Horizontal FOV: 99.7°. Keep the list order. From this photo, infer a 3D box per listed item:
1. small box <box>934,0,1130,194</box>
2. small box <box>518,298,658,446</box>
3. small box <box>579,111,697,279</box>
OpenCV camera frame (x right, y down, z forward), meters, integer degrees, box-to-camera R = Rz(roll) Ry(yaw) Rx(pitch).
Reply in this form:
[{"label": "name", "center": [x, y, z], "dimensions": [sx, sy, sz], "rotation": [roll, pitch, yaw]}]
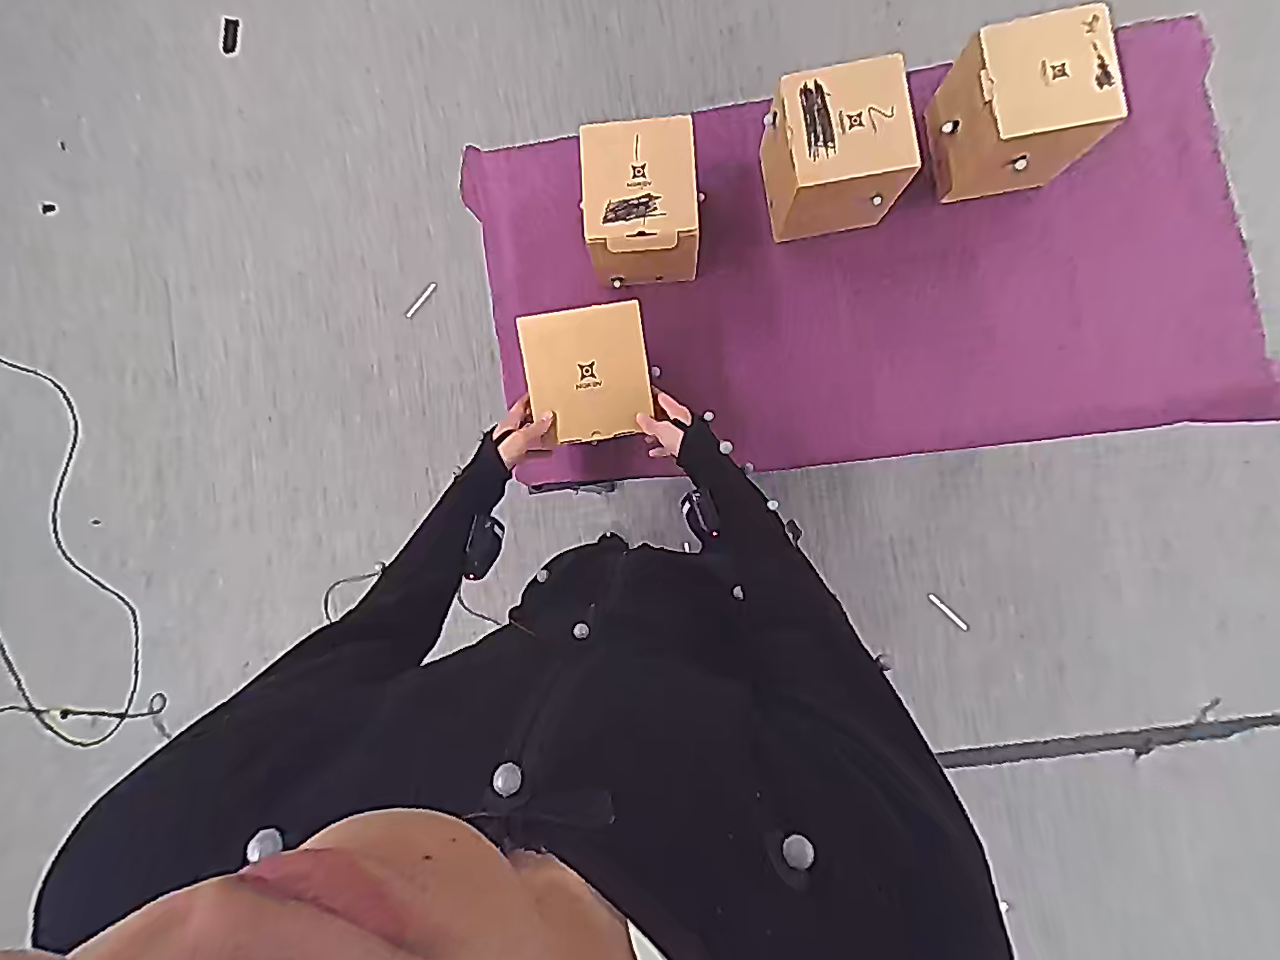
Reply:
[{"label": "small box", "center": [0.566, -0.559, 0.811], "dimensions": [0.179, 0.176, 0.168], "rotation": [-9, 89, 4]}, {"label": "small box", "center": [-0.070, -0.152, 0.794], "dimensions": [0.168, 0.176, 0.179], "rotation": [-9, 99, 0]}, {"label": "small box", "center": [0.002, -0.428, 0.845], "dimensions": [0.168, 0.176, 0.179], "rotation": [-3, 87, 3]}]
